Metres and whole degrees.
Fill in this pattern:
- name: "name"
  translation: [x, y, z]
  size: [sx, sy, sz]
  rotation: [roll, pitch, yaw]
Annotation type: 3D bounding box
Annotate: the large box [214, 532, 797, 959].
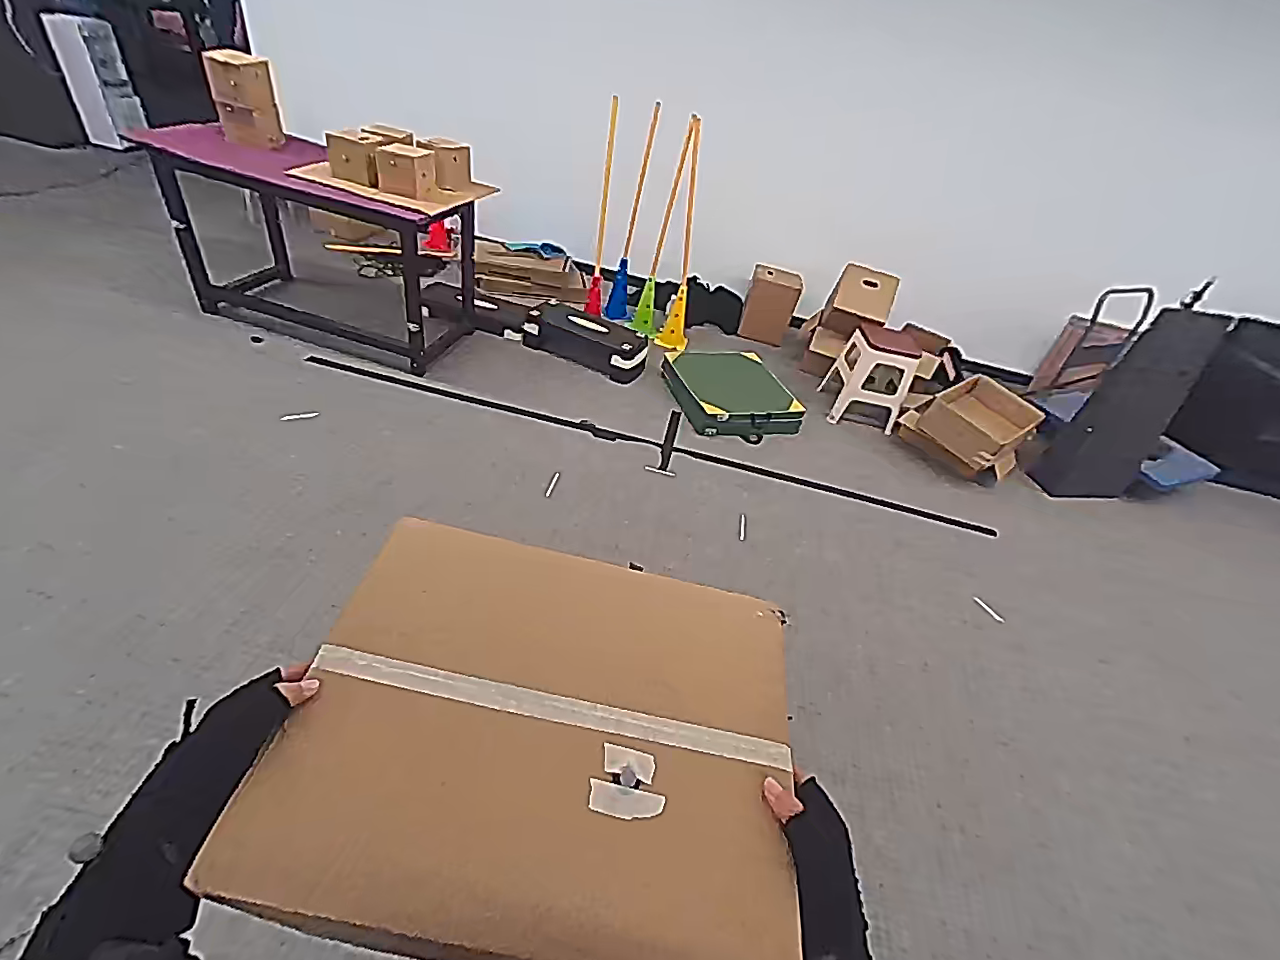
- name: "large box"
  translation: [-0.097, 0.303, 0.566]
  size: [0.408, 0.320, 0.320]
  rotation: [14, 46, -3]
